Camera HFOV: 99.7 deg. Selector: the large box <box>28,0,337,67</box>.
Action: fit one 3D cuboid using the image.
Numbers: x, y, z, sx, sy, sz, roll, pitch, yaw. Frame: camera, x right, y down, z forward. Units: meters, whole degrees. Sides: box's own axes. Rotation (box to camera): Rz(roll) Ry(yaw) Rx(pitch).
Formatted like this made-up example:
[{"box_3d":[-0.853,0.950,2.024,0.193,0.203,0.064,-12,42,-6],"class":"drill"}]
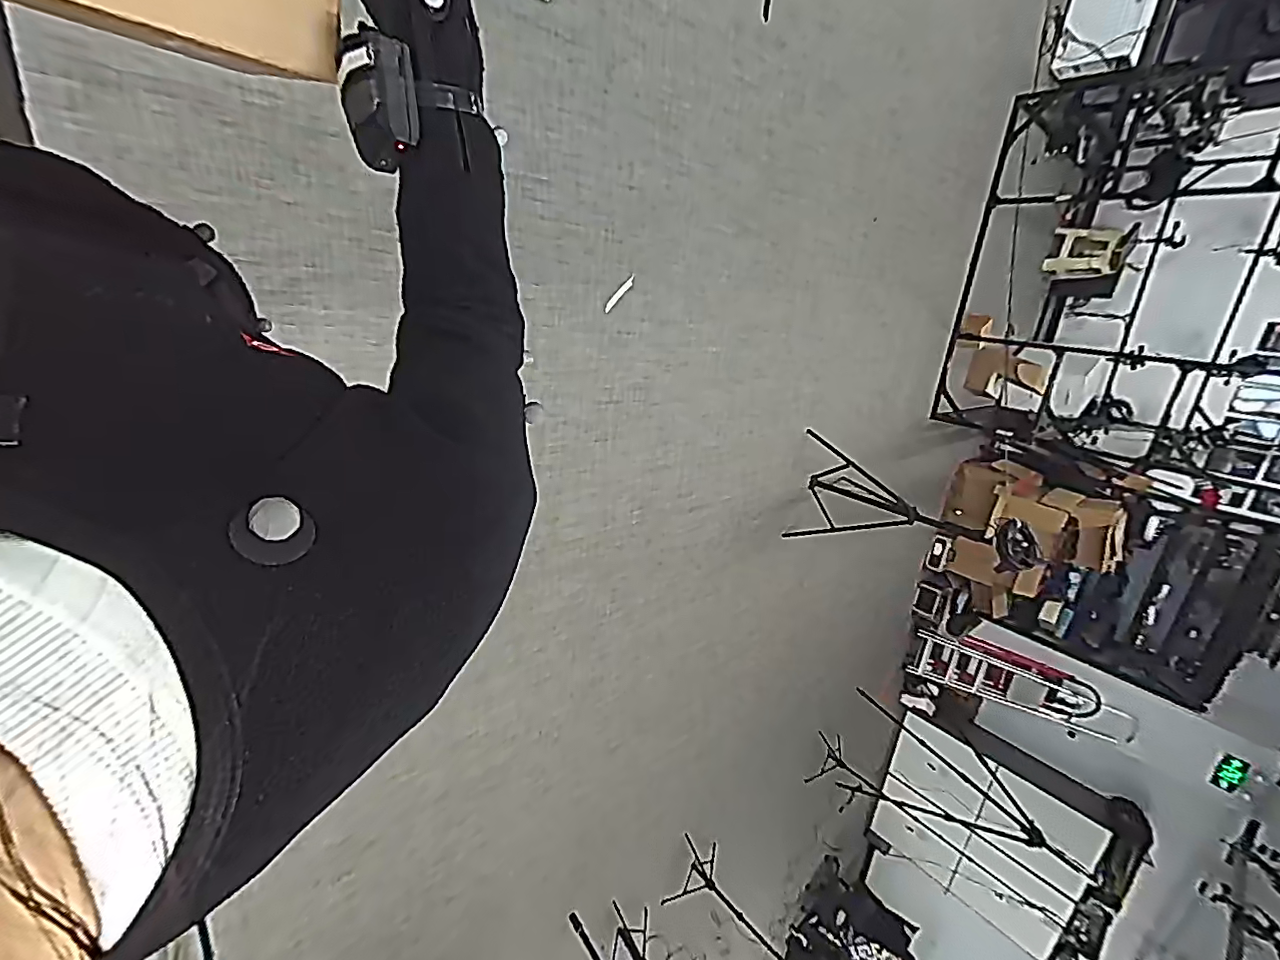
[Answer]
[{"box_3d":[-0.411,-0.450,0.257,0.408,0.320,0.320,-10,127,-41],"class":"large box"}]
